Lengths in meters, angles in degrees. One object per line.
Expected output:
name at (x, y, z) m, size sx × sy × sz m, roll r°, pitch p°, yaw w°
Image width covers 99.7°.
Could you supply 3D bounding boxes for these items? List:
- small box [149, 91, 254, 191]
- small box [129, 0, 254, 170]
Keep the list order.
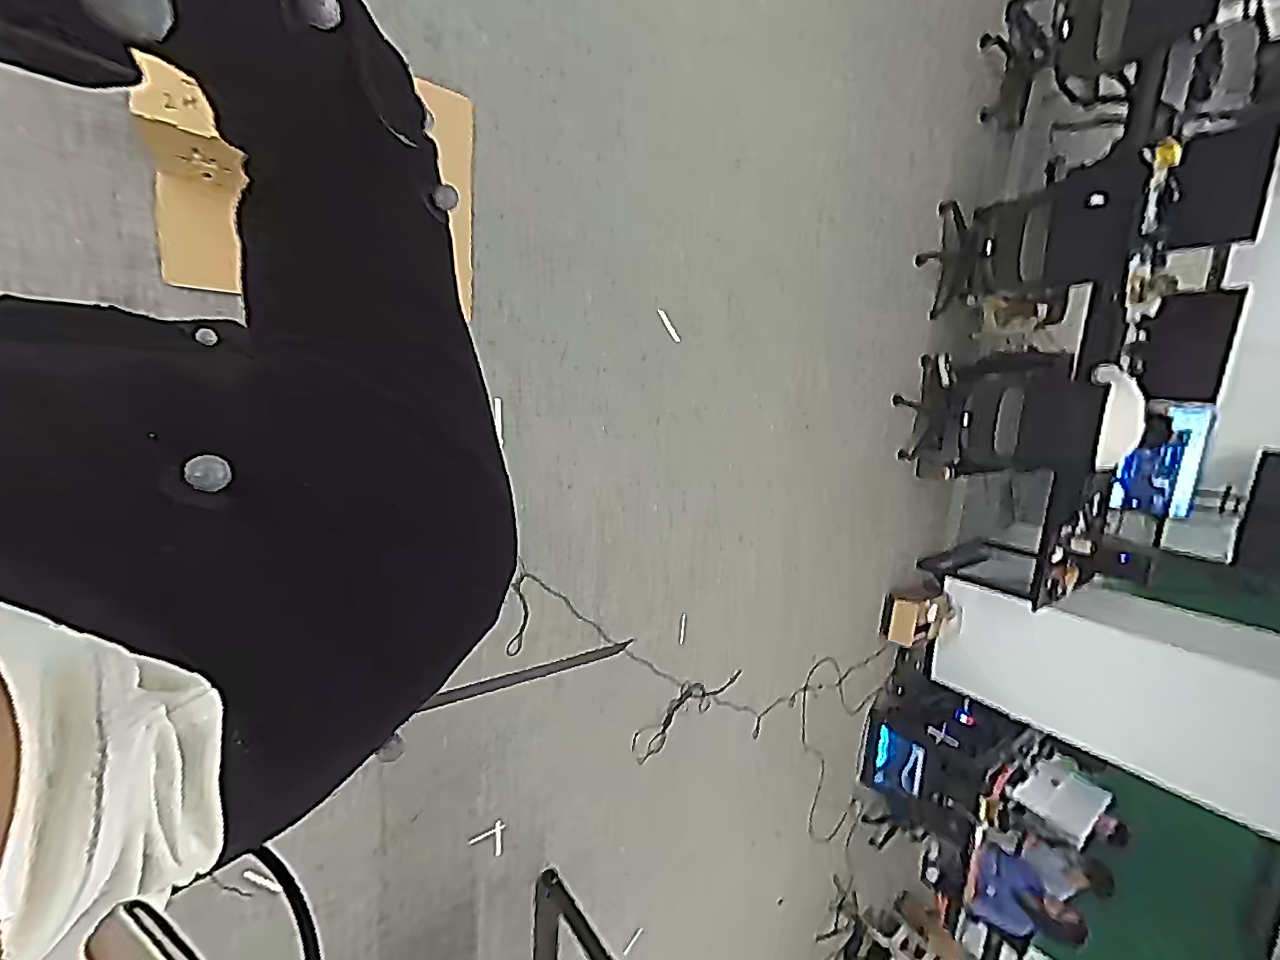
small box at (-0.906, -0.728, 1.125) m, size 0.168 × 0.176 × 0.179 m, roll -2°, pitch 102°, yaw -38°
small box at (-0.814, -0.705, 0.989) m, size 0.168 × 0.176 × 0.179 m, roll 0°, pitch 101°, yaw -37°
